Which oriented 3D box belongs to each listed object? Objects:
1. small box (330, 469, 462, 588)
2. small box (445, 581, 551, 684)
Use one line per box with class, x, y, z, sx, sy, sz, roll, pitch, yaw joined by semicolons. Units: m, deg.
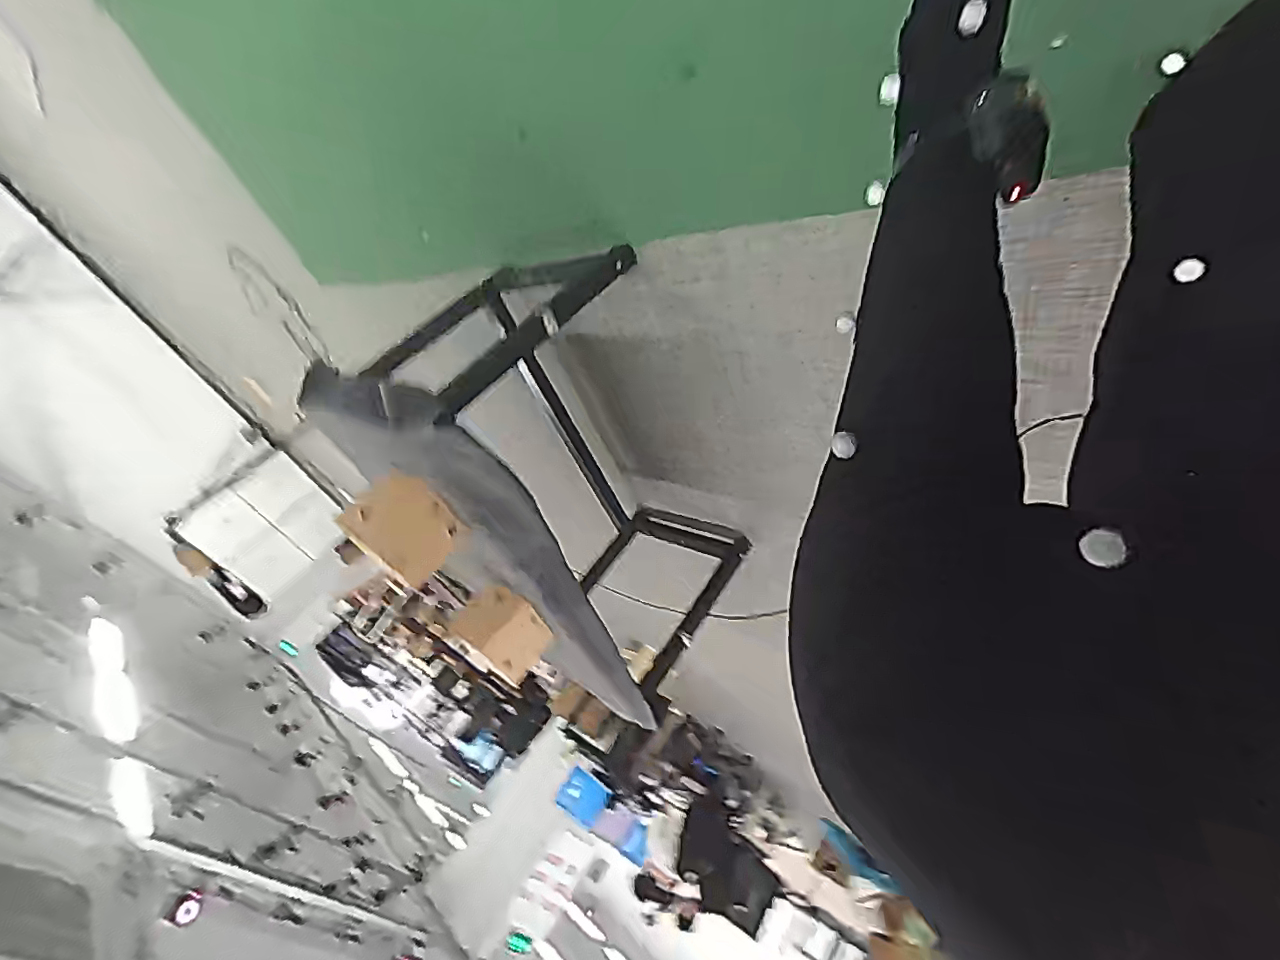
small box;-0.515;0.096;1.165;0.179;0.176;0.168;16;145;42
small box;-0.370;0.393;1.426;0.179;0.176;0.168;15;144;42
